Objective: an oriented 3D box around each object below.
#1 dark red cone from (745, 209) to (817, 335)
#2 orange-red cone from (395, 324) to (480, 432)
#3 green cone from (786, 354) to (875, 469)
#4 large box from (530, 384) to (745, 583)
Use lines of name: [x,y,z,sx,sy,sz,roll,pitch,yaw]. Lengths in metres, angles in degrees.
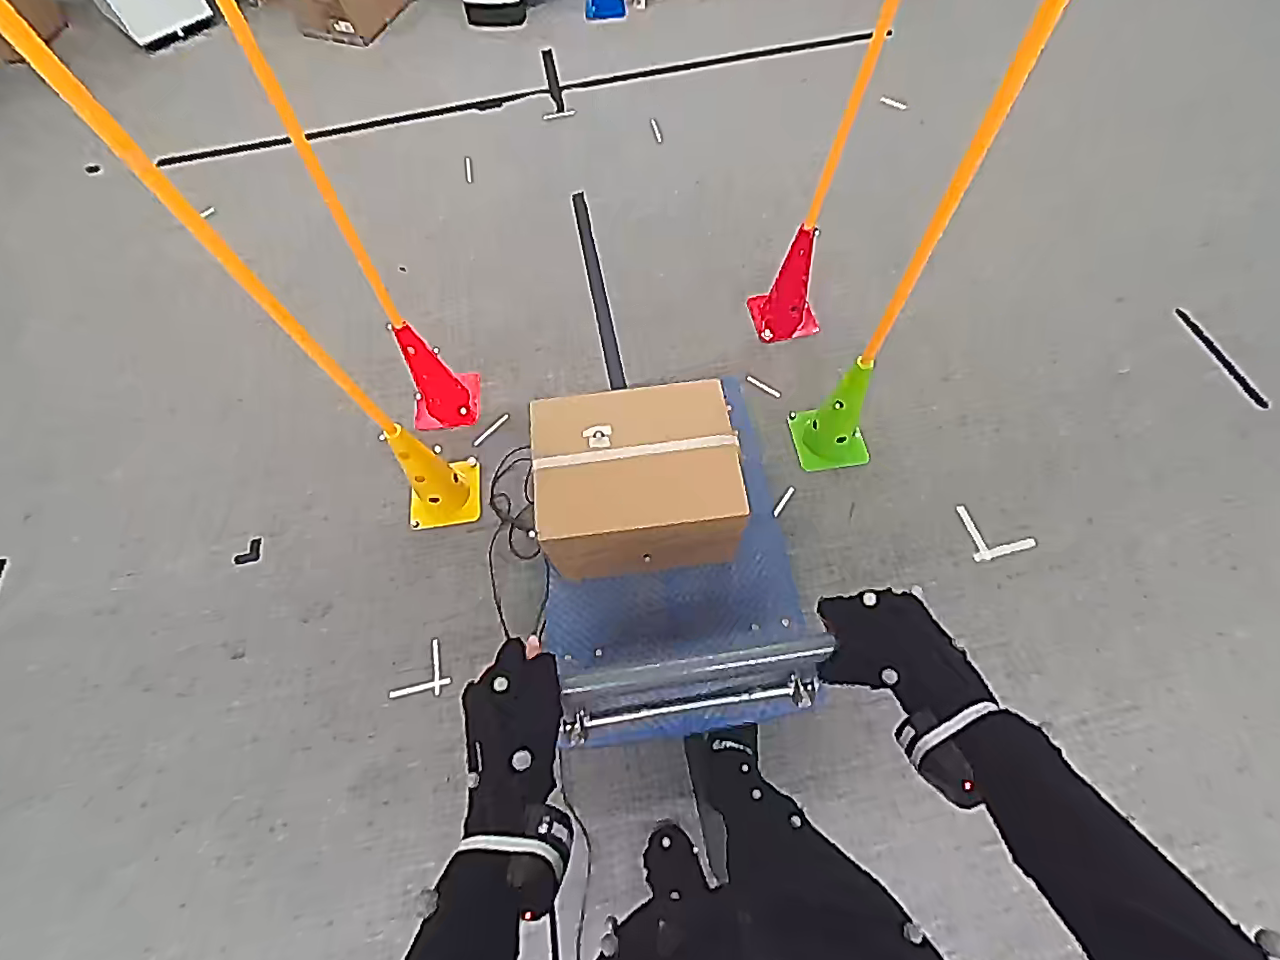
dark red cone: [0.464,-0.639,1.650,0.201,0.394,0.202,-11,64,-4]
orange-red cone: [-0.622,-0.319,1.578,0.198,0.360,0.199,-5,63,0]
green cone: [0.544,-0.203,1.452,0.202,0.368,0.200,-8,64,-2]
large box: [-0.007,0.023,1.213,0.408,0.320,0.320,-8,64,0]
